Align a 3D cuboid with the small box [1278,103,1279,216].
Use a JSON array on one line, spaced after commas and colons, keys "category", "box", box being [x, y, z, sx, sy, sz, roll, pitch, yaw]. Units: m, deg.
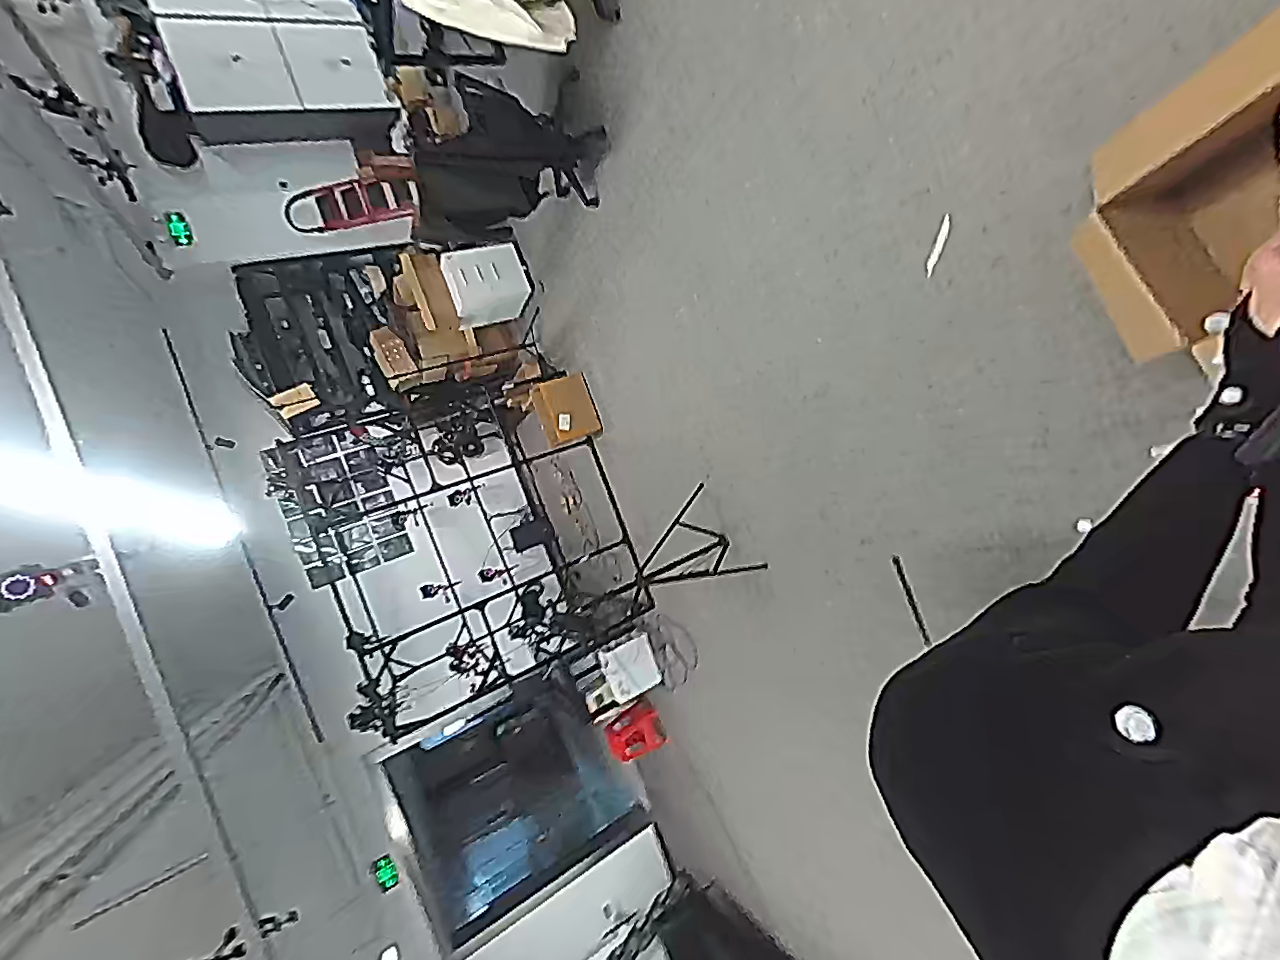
[{"category": "small box", "box": [0.645, -0.234, 0.426, 0.179, 0.176, 0.168, -7, 77, 50]}]
